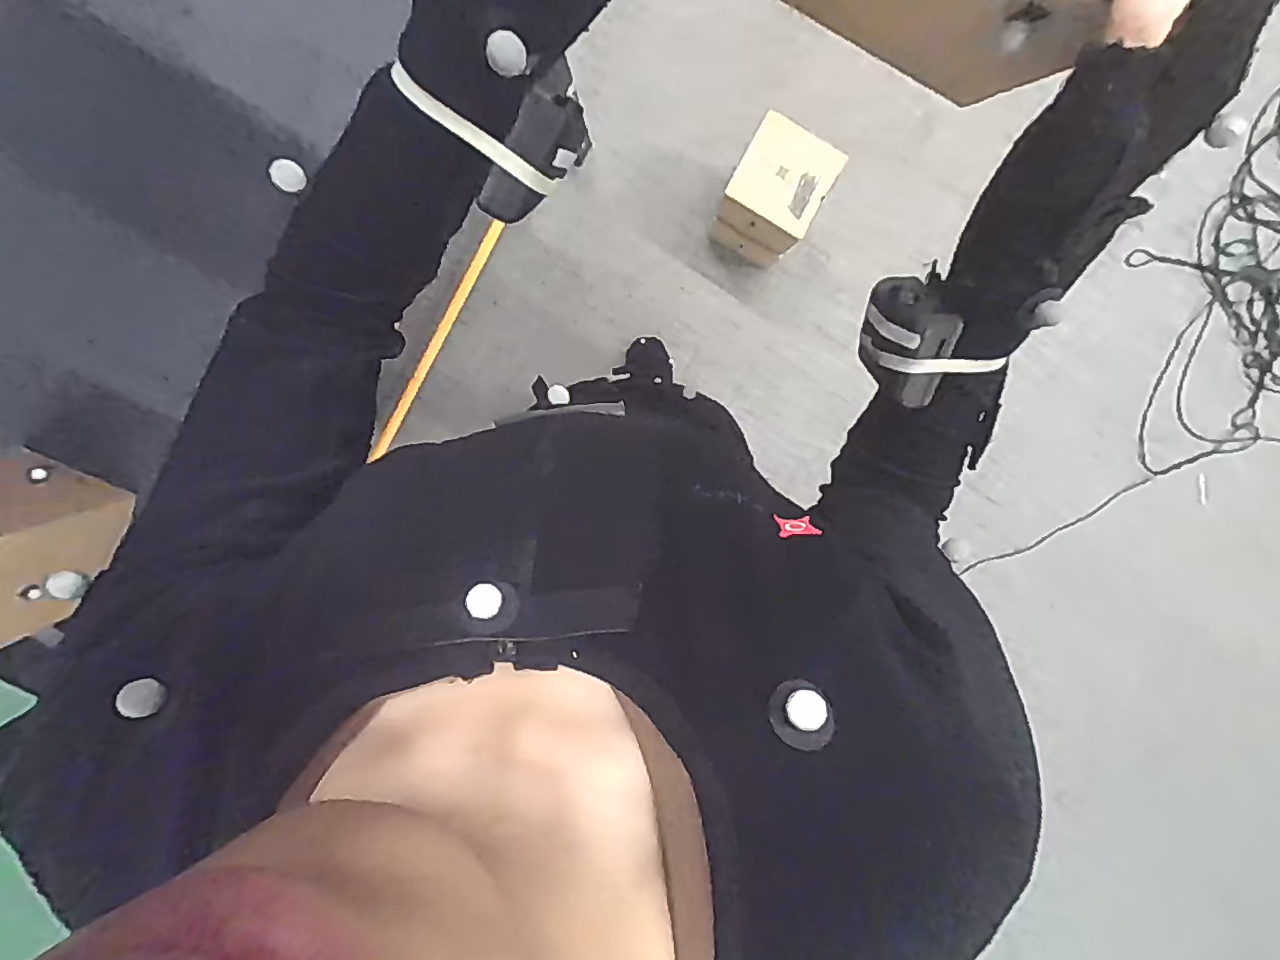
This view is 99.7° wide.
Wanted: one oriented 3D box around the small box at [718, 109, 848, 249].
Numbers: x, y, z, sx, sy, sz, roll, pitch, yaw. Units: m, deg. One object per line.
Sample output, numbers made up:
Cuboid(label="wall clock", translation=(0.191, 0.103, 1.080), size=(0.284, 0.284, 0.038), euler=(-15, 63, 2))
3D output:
Cuboid(label="small box", translation=(0.275, -0.587, 1.084), size=(0.179, 0.176, 0.168), euler=(29, 103, -4))

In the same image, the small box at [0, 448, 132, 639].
Cuboid(label="small box", translation=(-0.817, 0.080, 0.695), size=(0.168, 0.176, 0.179), euler=(25, 103, -5))
